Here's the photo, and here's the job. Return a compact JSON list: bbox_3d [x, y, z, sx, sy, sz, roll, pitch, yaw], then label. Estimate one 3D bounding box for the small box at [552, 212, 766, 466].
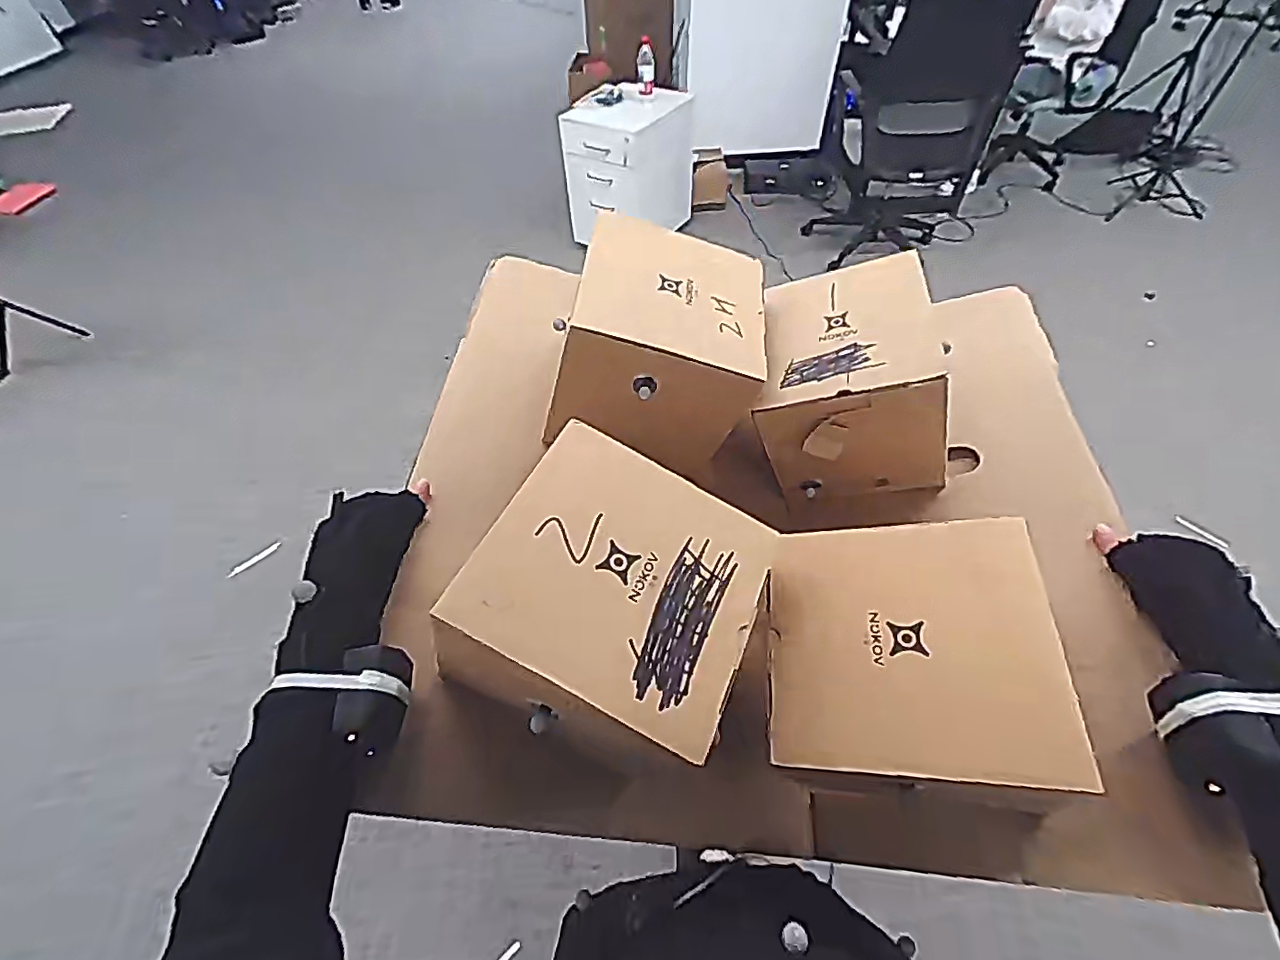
[{"bbox_3d":[0.014,-0.134,0.563,0.179,0.176,0.168,14,57,-10],"label":"small box"}]
